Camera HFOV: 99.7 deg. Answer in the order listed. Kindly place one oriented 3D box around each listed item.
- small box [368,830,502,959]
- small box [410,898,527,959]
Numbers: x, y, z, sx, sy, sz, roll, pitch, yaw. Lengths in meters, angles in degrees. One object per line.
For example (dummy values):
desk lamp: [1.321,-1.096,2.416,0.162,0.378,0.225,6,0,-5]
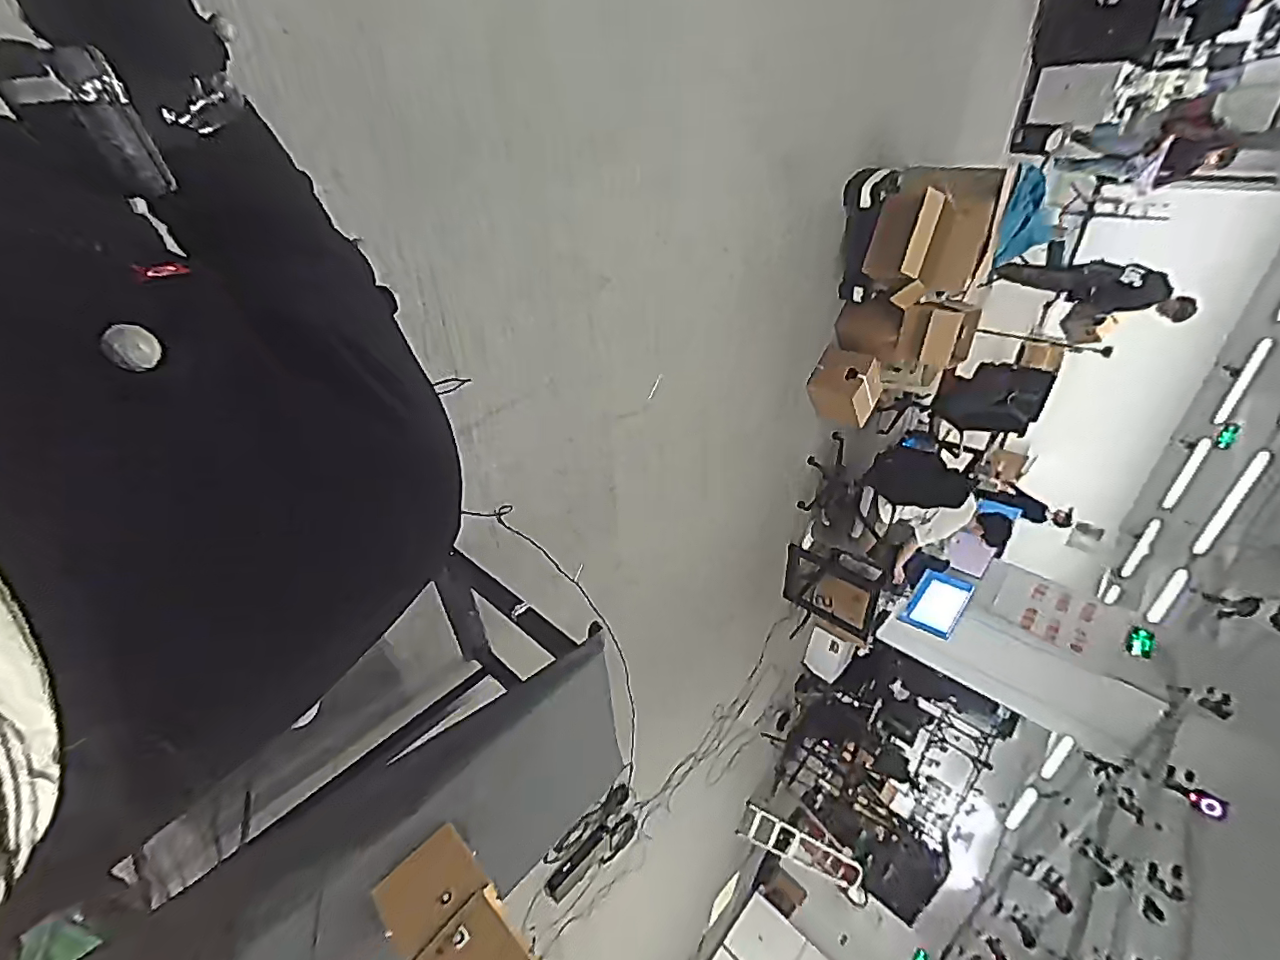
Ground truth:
small box: [-0.415,0.868,1.102,0.179,0.176,0.168,-32,134,-34]
small box: [-0.305,0.926,0.998,0.168,0.176,0.179,-38,136,-32]
